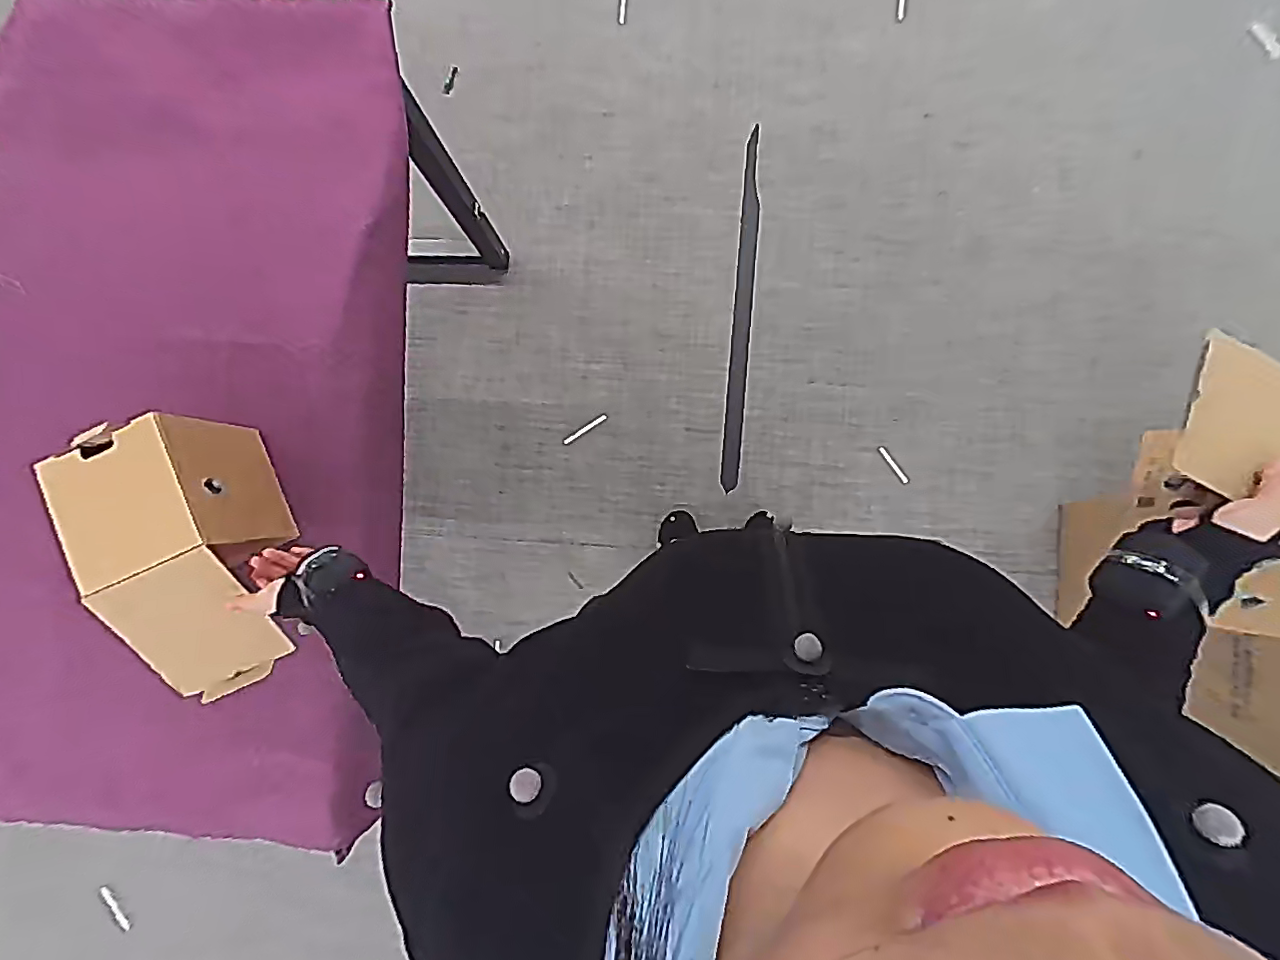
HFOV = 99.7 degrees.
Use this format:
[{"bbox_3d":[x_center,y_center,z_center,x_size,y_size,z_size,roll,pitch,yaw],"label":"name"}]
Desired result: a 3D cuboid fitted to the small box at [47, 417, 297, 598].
[{"bbox_3d":[-0.607,0.035,0.726,0.168,0.176,0.179,-23,85,1],"label":"small box"}]
